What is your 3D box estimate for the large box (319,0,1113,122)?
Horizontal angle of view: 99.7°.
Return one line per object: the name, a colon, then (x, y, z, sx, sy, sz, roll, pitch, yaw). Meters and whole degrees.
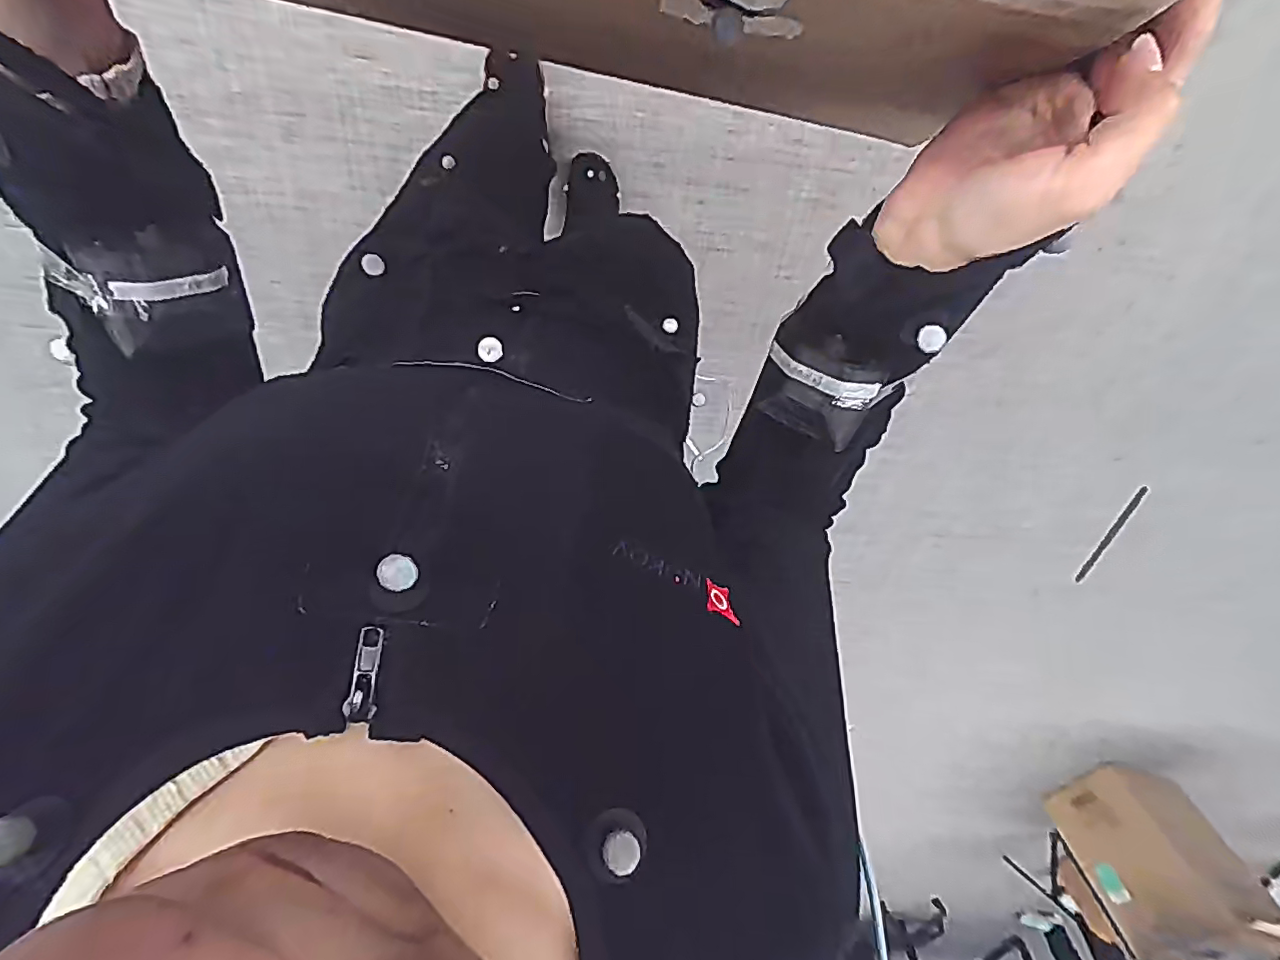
large box: (-0.005, -0.337, 0.116, 0.408, 0.320, 0.320, 8, 108, -5)
